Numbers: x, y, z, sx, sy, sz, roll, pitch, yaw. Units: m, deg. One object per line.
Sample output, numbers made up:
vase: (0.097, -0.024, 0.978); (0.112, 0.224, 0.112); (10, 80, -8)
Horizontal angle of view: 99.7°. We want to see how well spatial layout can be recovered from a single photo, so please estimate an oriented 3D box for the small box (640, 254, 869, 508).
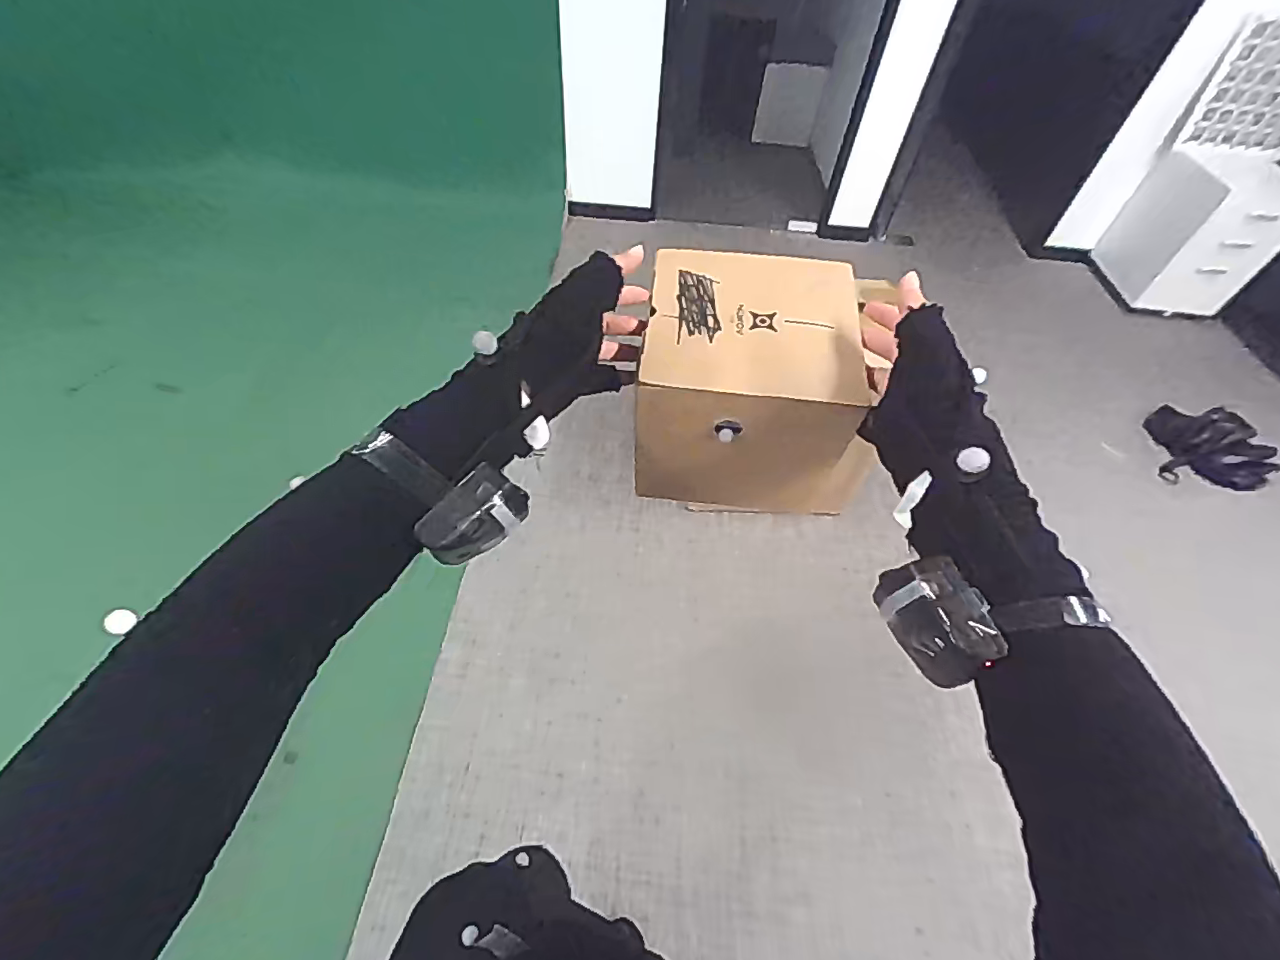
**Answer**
small box: (0.095, -0.087, 0.517); (0.179, 0.176, 0.168); (7, 58, 2)
